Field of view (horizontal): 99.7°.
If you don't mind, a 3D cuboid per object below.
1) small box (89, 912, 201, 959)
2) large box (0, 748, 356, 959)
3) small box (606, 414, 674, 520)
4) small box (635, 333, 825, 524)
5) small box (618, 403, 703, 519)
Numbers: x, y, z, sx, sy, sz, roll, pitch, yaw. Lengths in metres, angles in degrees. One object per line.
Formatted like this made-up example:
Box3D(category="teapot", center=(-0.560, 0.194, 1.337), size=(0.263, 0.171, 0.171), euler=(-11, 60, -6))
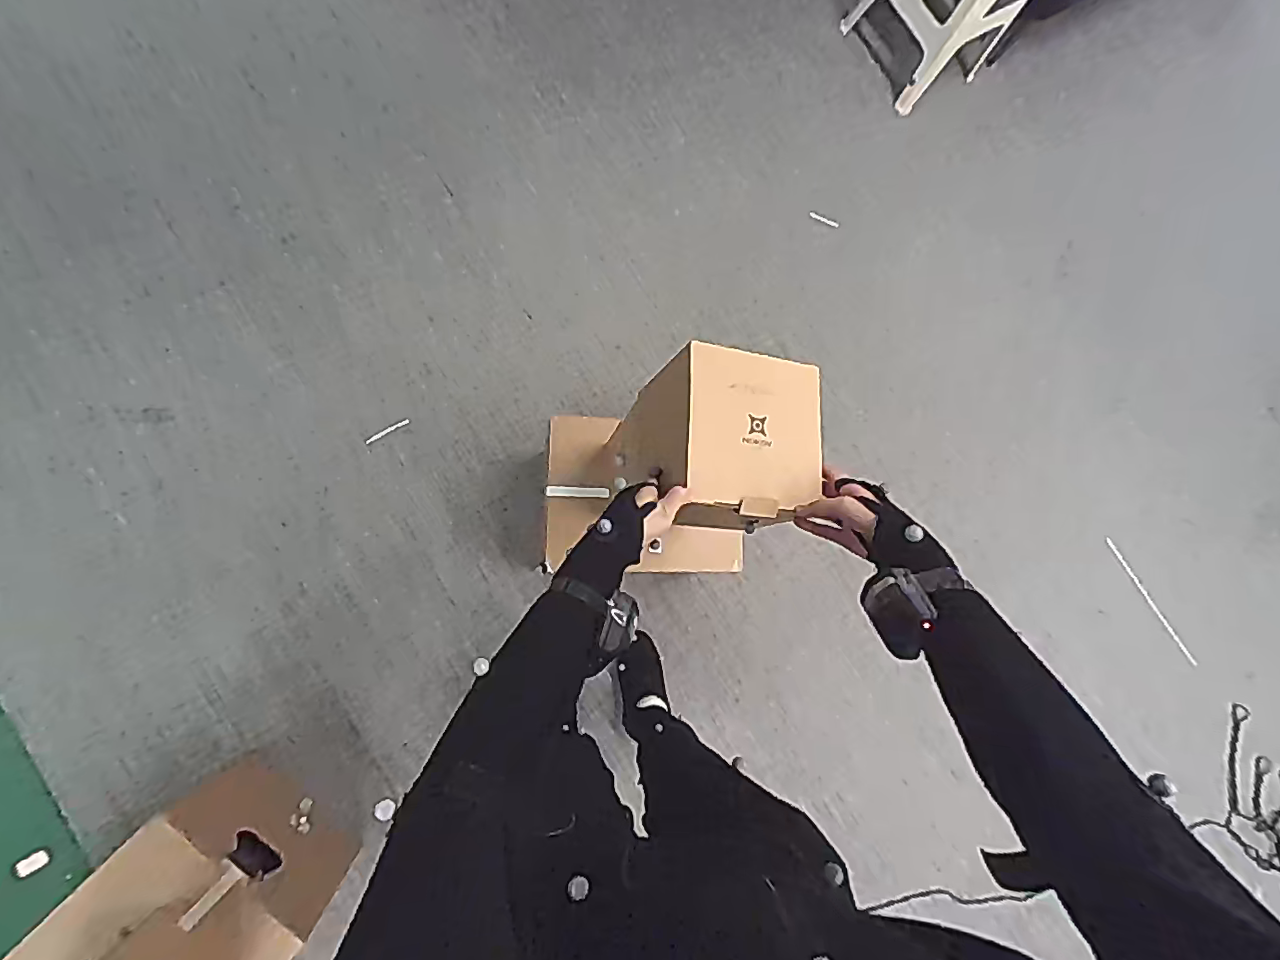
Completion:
Box3D(category="small box", center=(-0.701, 0.730, 0.704), size=(0.168, 0.176, 0.179), euler=(-41, 91, -17))
Box3D(category="large box", center=(-0.795, 0.767, 0.931), size=(0.320, 0.320, 0.408), euler=(44, 75, -1))
Box3D(category="small box", center=(0.040, -0.018, 1.006), size=(0.179, 0.176, 0.168), euler=(-1, 79, -14))
Box3D(category="small box", center=(0.099, -0.046, 0.648), size=(0.168, 0.176, 0.179), euler=(8, 76, -20))
Box3D(category="small box", center=(0.068, -0.032, 0.843), size=(0.179, 0.176, 0.168), euler=(3, 79, -11))
